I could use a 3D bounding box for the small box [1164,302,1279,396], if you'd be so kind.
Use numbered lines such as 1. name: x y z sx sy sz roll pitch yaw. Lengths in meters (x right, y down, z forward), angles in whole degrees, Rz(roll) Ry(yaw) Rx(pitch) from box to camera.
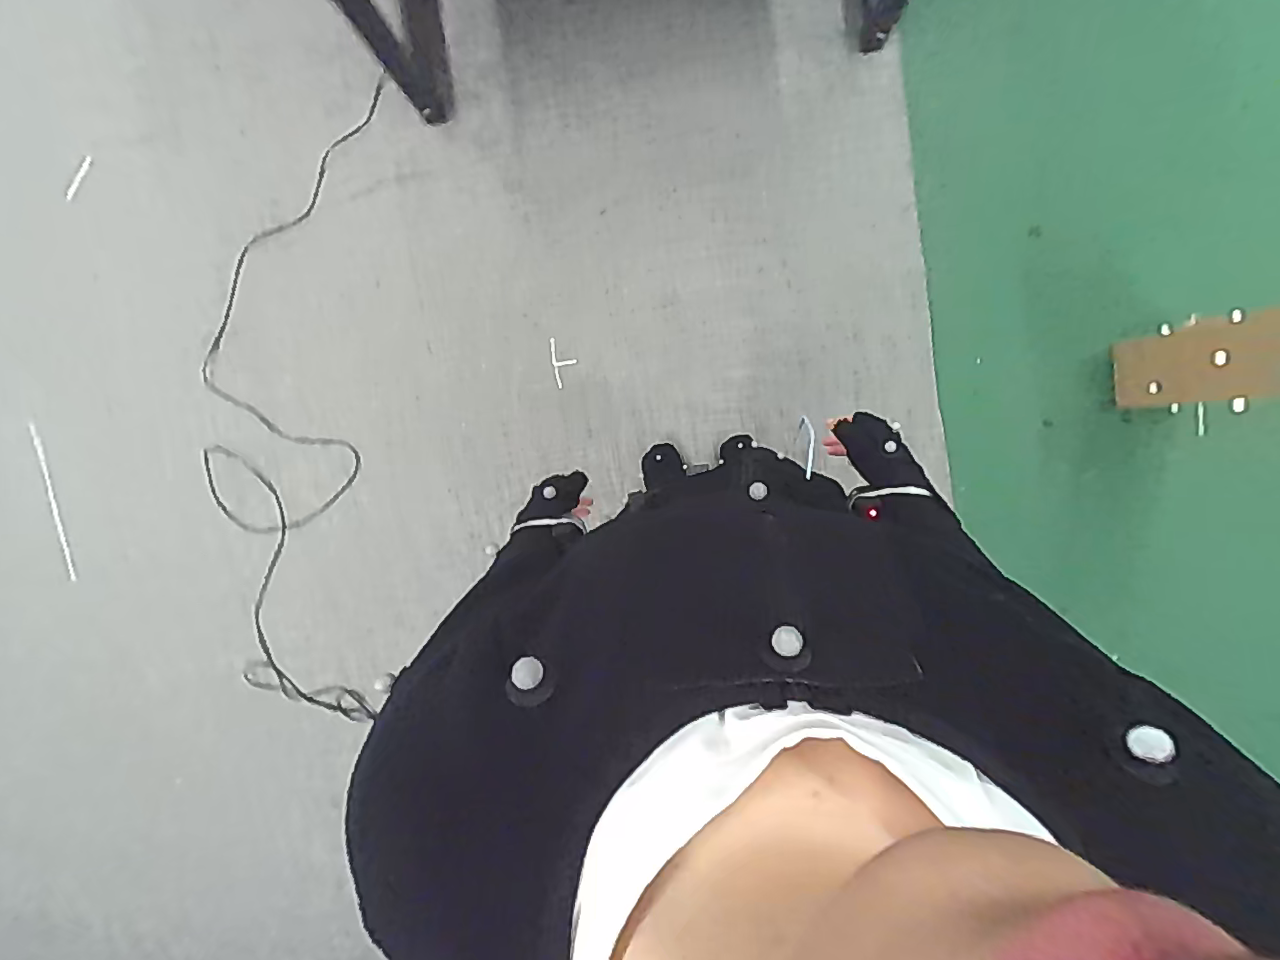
1. small box: 1.286 -0.276 1.163 0.168 0.176 0.179 -7 95 3

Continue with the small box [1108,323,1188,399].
1. small box: 1.299 -0.293 1.325 0.168 0.176 0.179 -7 95 3
